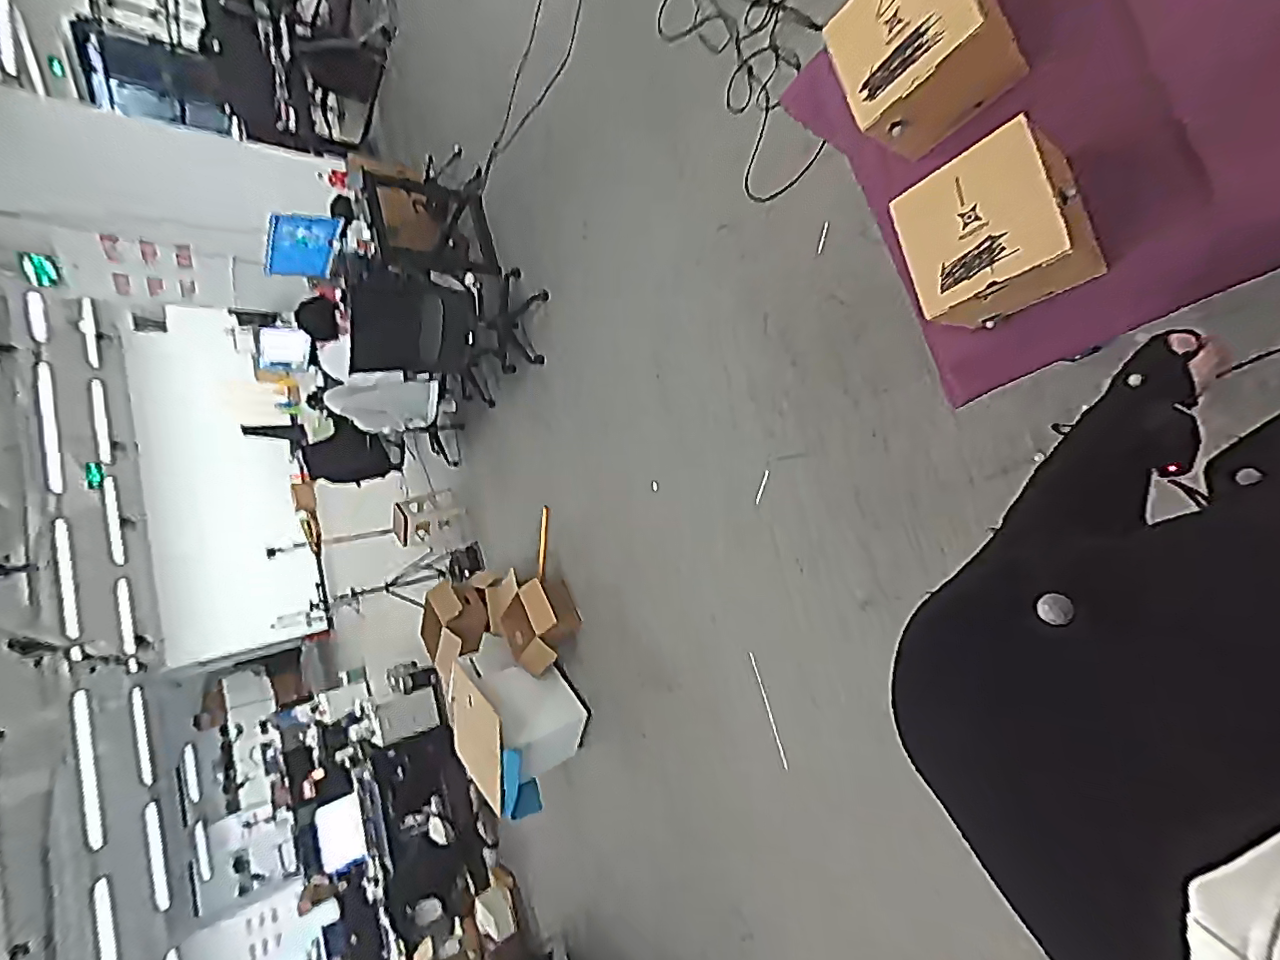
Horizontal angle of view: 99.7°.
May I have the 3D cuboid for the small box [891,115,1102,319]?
[{"bbox_3d":[0.473,-0.327,0.718,0.168,0.176,0.179,-23,78,50],"label":"small box"}]
